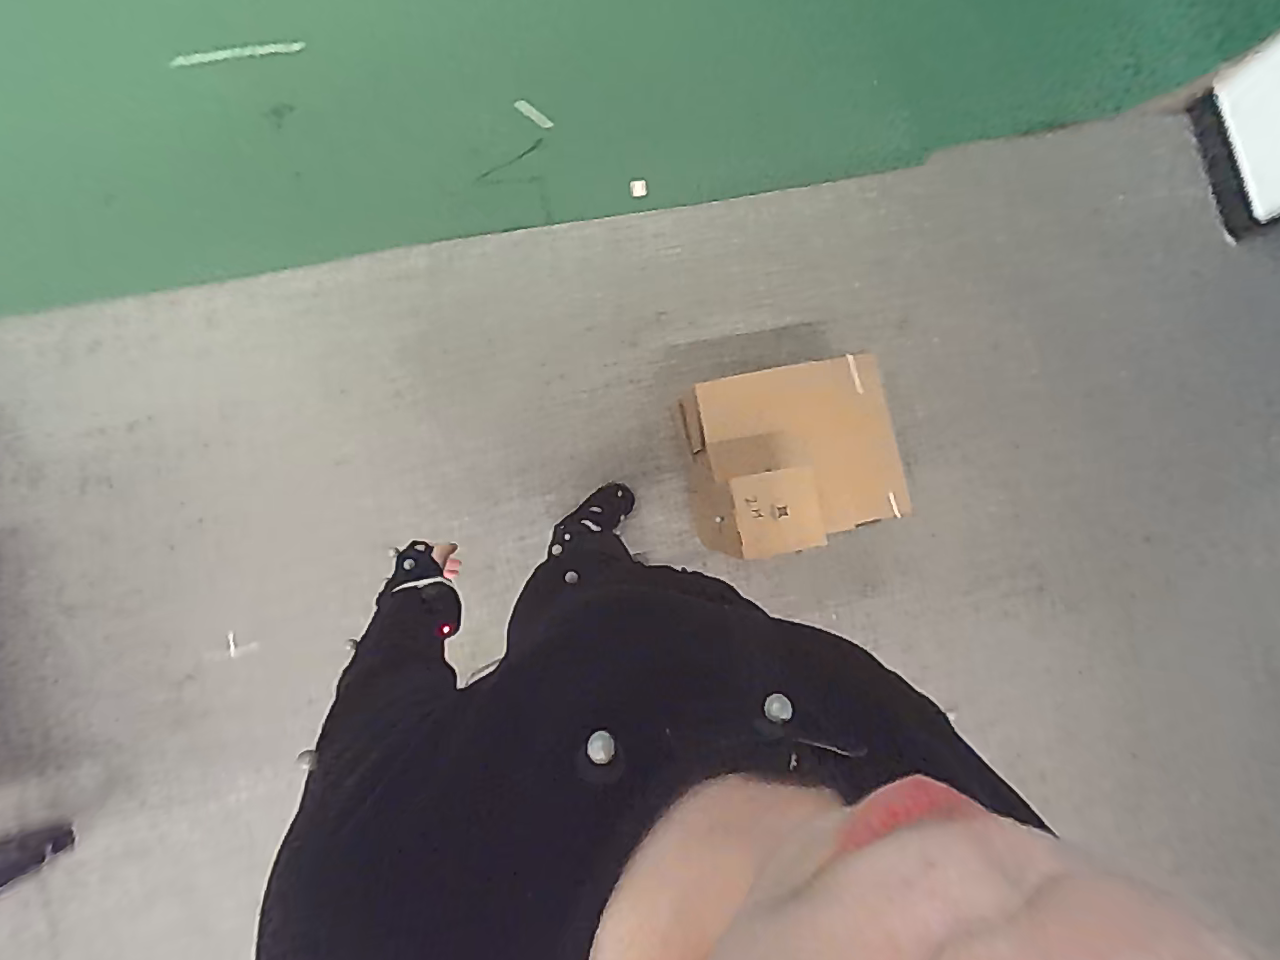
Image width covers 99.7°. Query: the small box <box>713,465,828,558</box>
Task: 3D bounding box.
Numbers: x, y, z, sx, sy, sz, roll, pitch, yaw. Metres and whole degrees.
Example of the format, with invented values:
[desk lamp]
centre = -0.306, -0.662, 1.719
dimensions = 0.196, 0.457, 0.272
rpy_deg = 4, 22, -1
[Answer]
[small box]
centre = 0.269, 0.066, 1.148
dimensions = 0.179, 0.176, 0.168
rpy_deg = -10, 86, -6
